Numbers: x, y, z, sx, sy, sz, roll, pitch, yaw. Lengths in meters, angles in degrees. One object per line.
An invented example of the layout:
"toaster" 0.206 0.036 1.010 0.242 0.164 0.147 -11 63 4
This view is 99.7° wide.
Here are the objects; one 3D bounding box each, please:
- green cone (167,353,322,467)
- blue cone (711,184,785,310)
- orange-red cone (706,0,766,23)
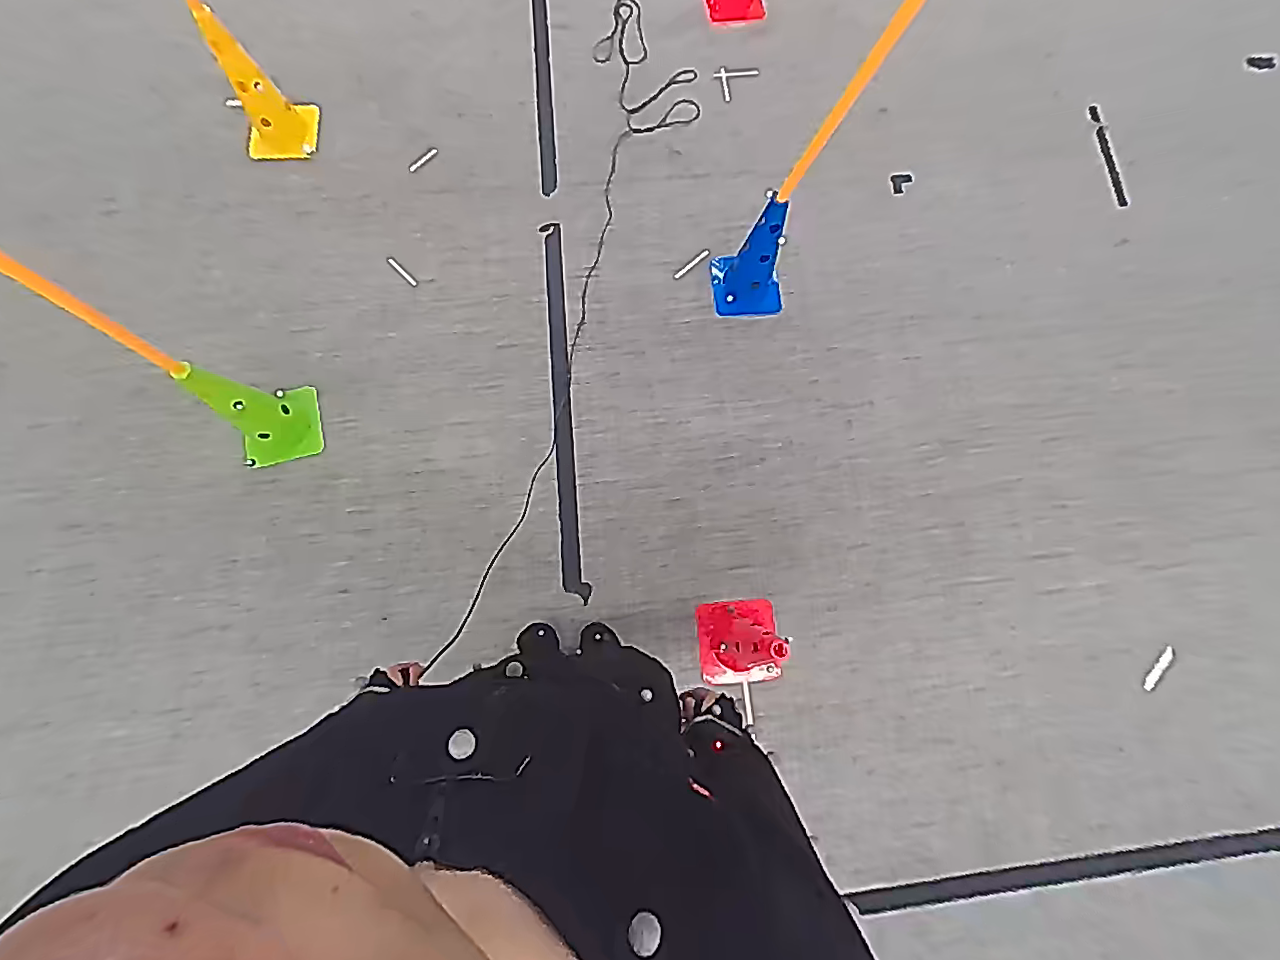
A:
"green cone" -0.958 -0.193 1.288 0.200 0.368 0.202 -15 75 -6
"blue cone" 0.322 -0.634 1.461 0.193 0.380 0.192 -2 75 -3
"orange-red cone" 0.332 -1.715 1.715 0.199 0.360 0.198 -10 76 -3
